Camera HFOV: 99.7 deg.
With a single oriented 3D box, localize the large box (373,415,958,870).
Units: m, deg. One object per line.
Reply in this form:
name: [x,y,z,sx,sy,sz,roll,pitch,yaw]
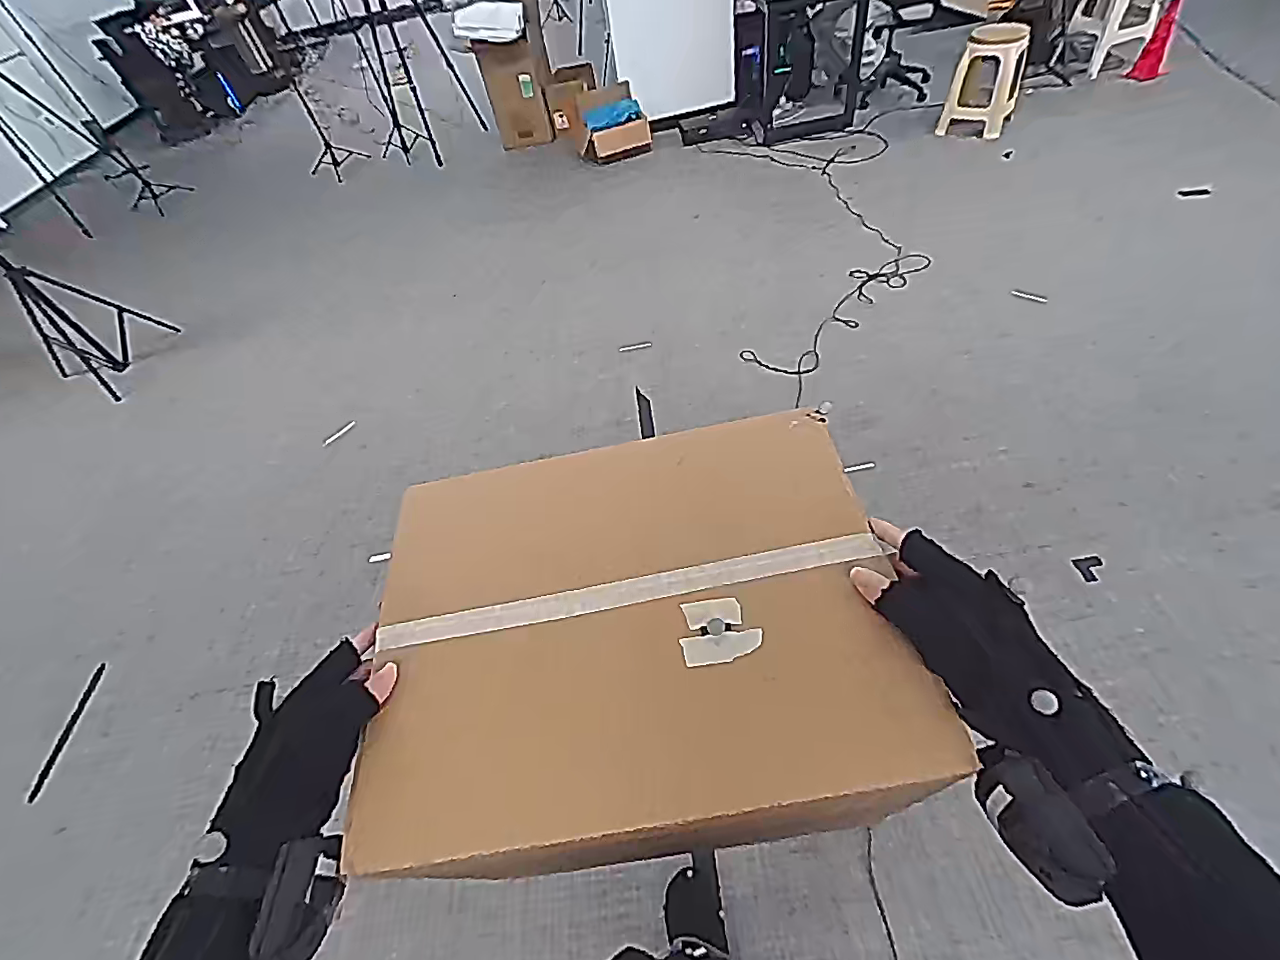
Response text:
large box: [0.014,0.182,0.561,0.408,0.320,0.320,-11,53,2]
